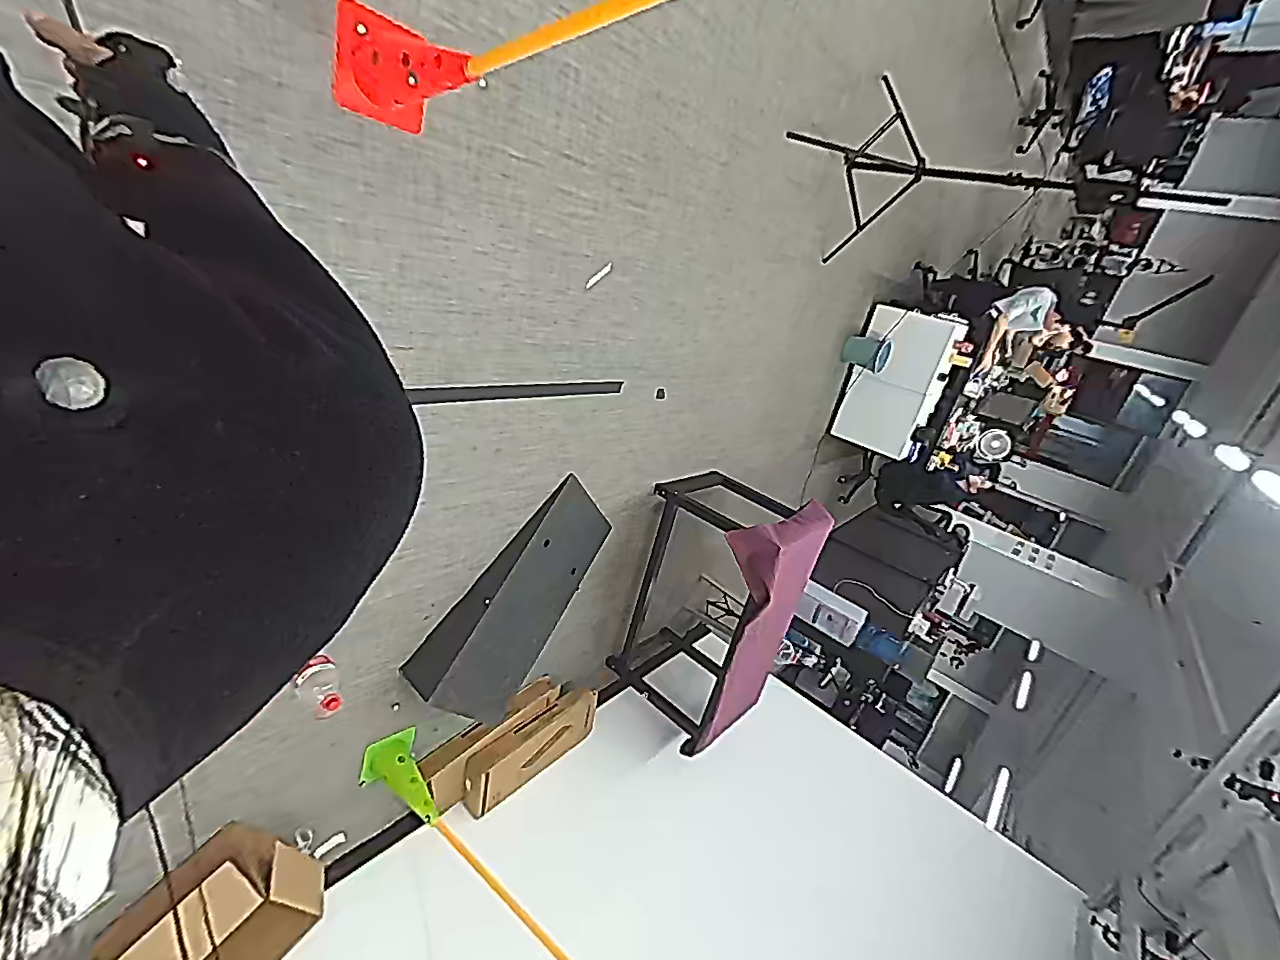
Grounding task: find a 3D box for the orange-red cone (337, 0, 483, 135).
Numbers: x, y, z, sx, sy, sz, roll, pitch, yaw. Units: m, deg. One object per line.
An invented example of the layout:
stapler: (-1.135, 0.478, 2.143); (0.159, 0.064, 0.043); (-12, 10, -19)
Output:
orange-red cone: (-0.431, -0.827, 1.093); (0.198, 0.360, 0.199); (-8, 121, -50)
